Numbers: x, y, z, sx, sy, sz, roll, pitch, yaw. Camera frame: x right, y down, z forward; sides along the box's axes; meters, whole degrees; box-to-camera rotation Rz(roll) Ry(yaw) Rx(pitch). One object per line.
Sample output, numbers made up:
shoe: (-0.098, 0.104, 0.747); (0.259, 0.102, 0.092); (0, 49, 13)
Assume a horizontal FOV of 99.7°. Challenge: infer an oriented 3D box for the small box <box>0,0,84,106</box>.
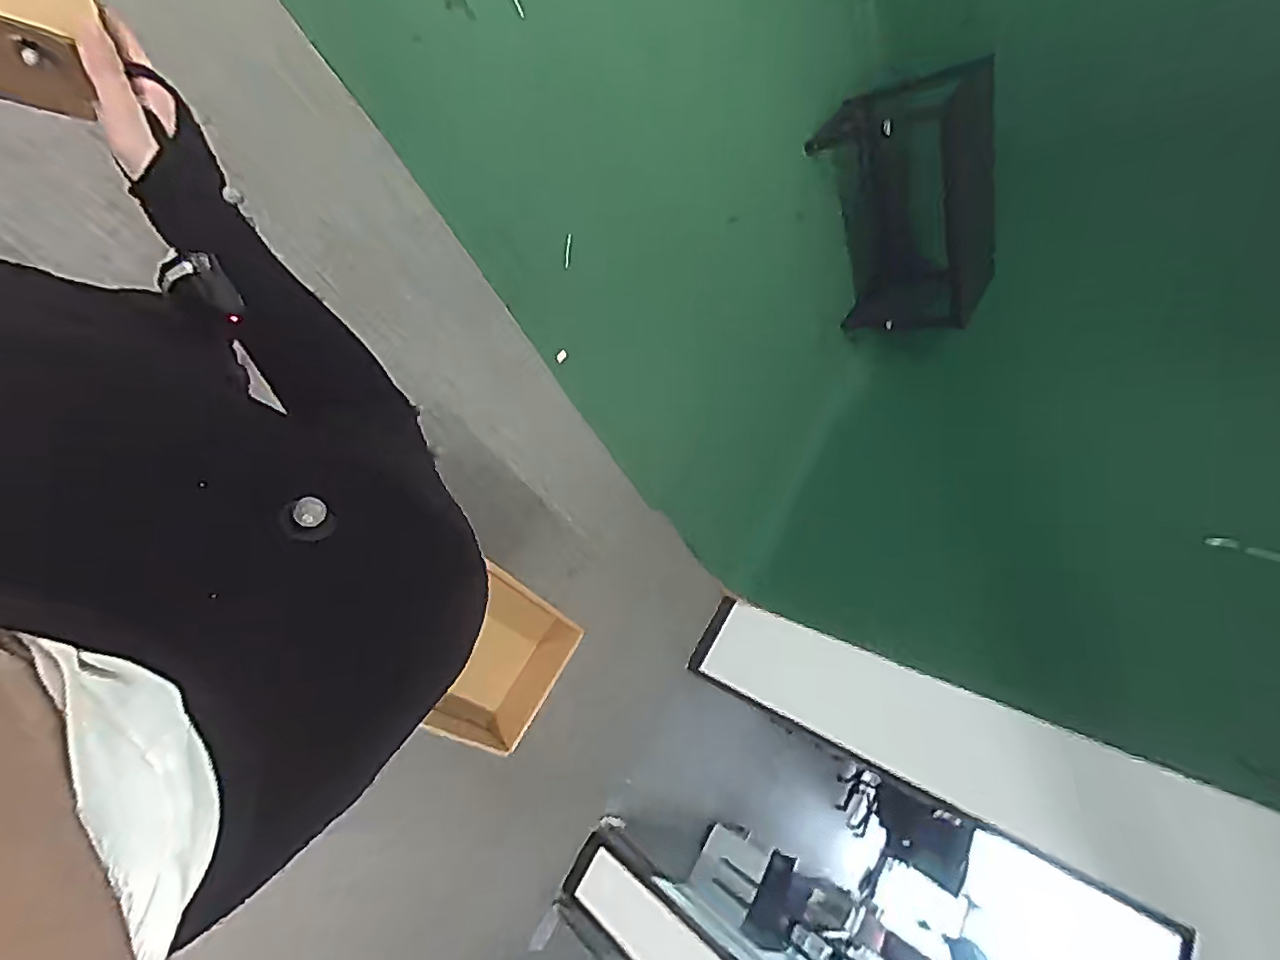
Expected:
small box: (-0.542, -0.413, 0.394); (0.179, 0.176, 0.168); (-11, 103, -46)
